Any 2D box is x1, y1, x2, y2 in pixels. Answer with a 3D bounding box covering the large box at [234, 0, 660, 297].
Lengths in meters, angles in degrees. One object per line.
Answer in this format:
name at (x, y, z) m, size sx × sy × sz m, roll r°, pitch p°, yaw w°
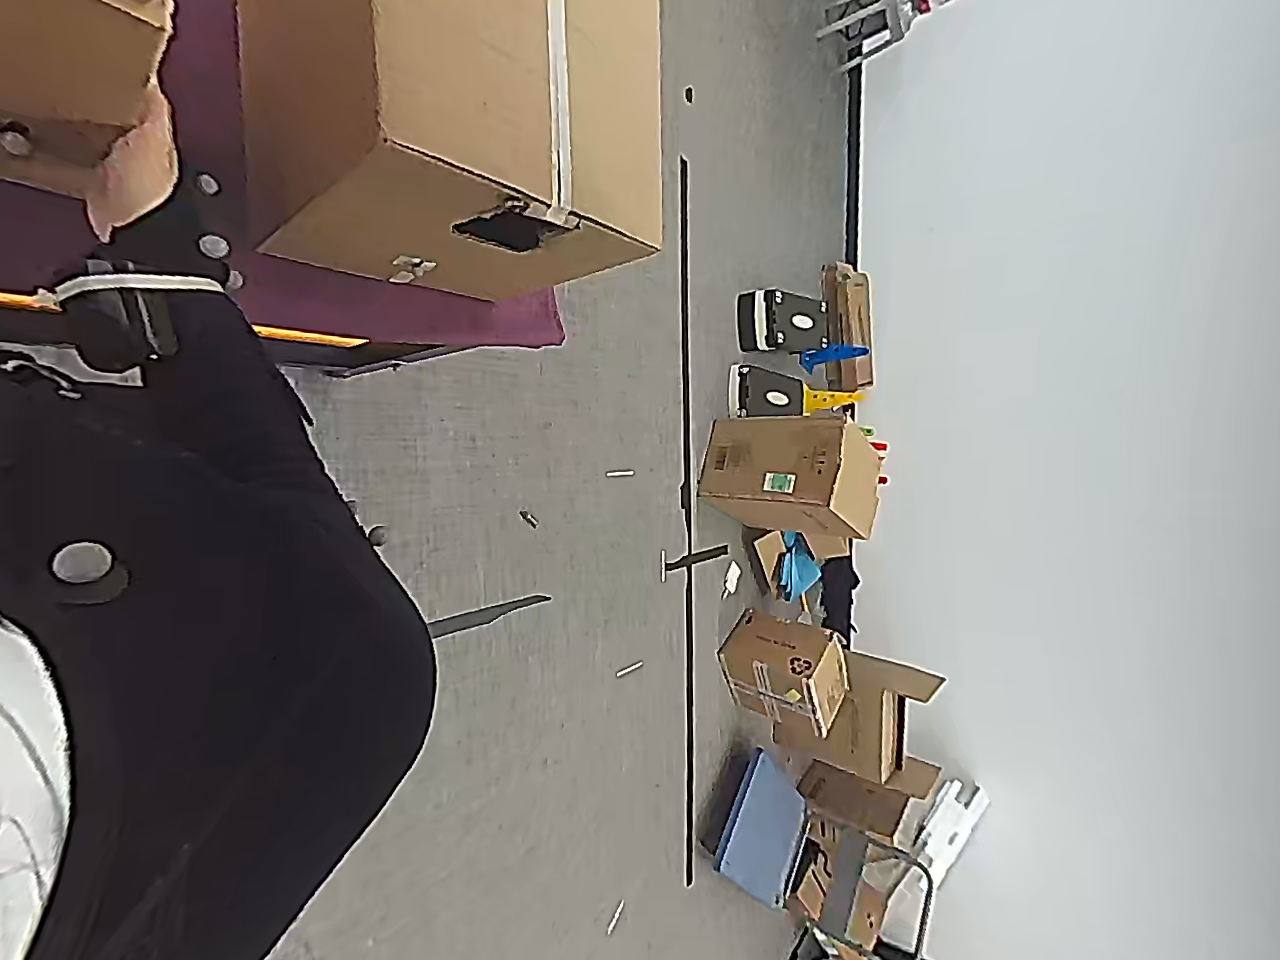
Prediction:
large box at (-0.198, -0.444, 0.566) m, size 0.320 × 0.320 × 0.408 m, roll -7°, pitch 96°, yaw -50°
